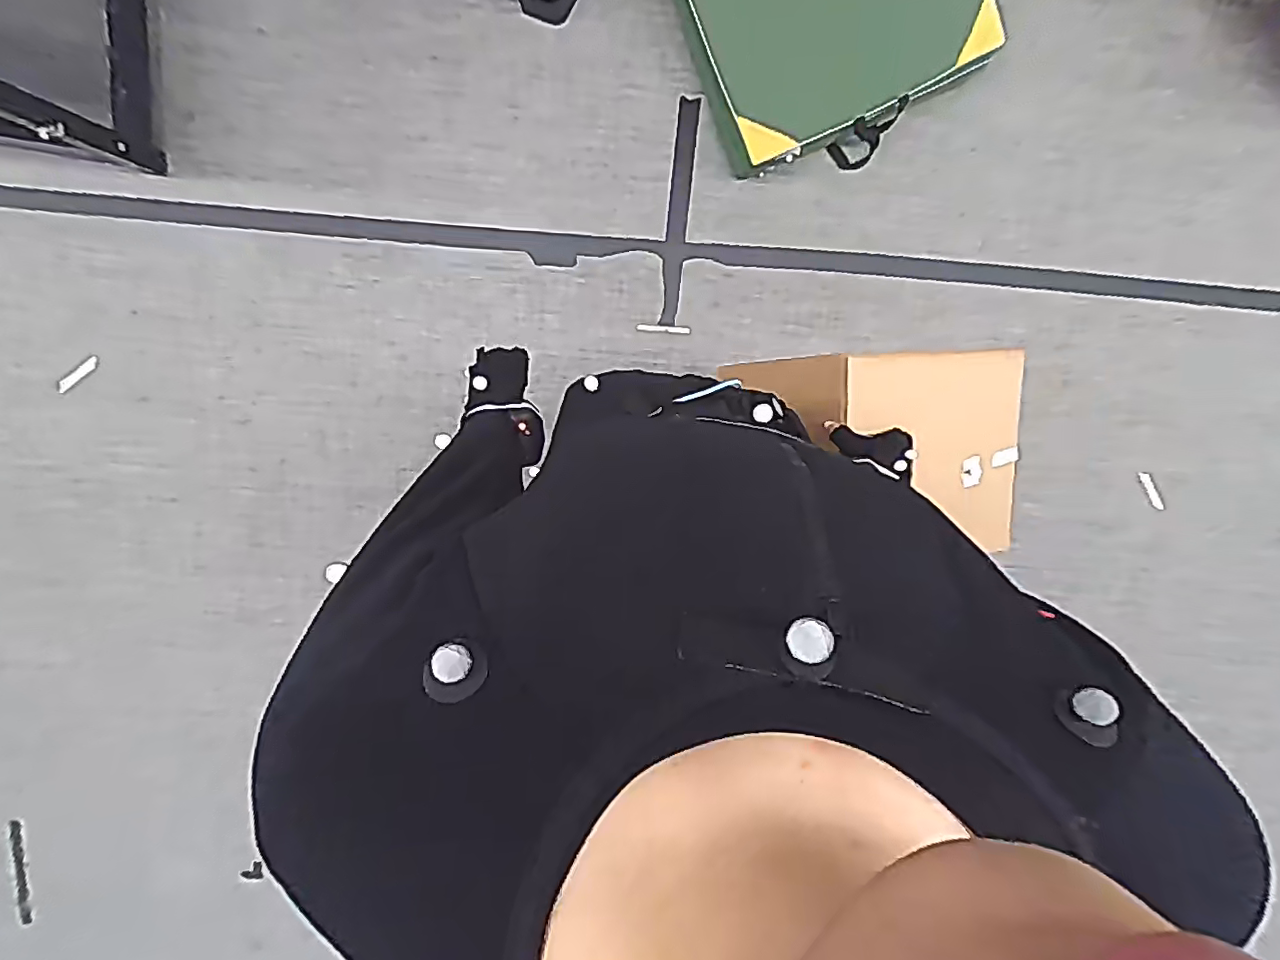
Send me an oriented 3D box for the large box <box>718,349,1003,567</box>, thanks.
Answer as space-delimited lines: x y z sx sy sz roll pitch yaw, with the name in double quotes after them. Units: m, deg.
0.368 -0.061 0.989 0.320 0.408 0.320 -5 100 -15 "large box"
